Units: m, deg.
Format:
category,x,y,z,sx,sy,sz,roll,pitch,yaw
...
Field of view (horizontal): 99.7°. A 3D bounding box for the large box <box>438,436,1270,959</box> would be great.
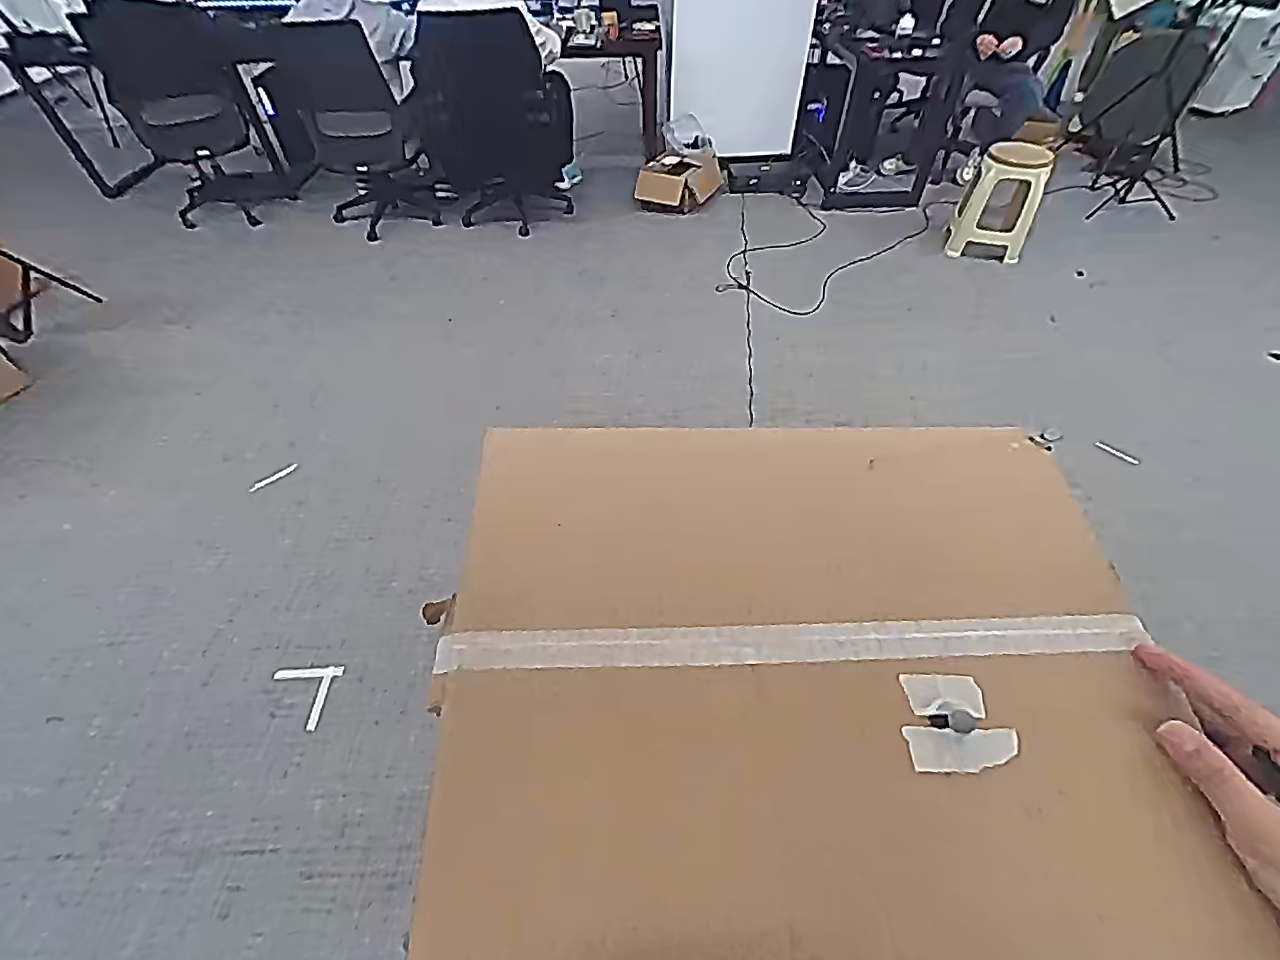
category,x,y,z,sx,sy,sz,roll,pitch,yaw
large box,0.090,0.178,0.448,0.408,0.320,0.320,0,59,-4
